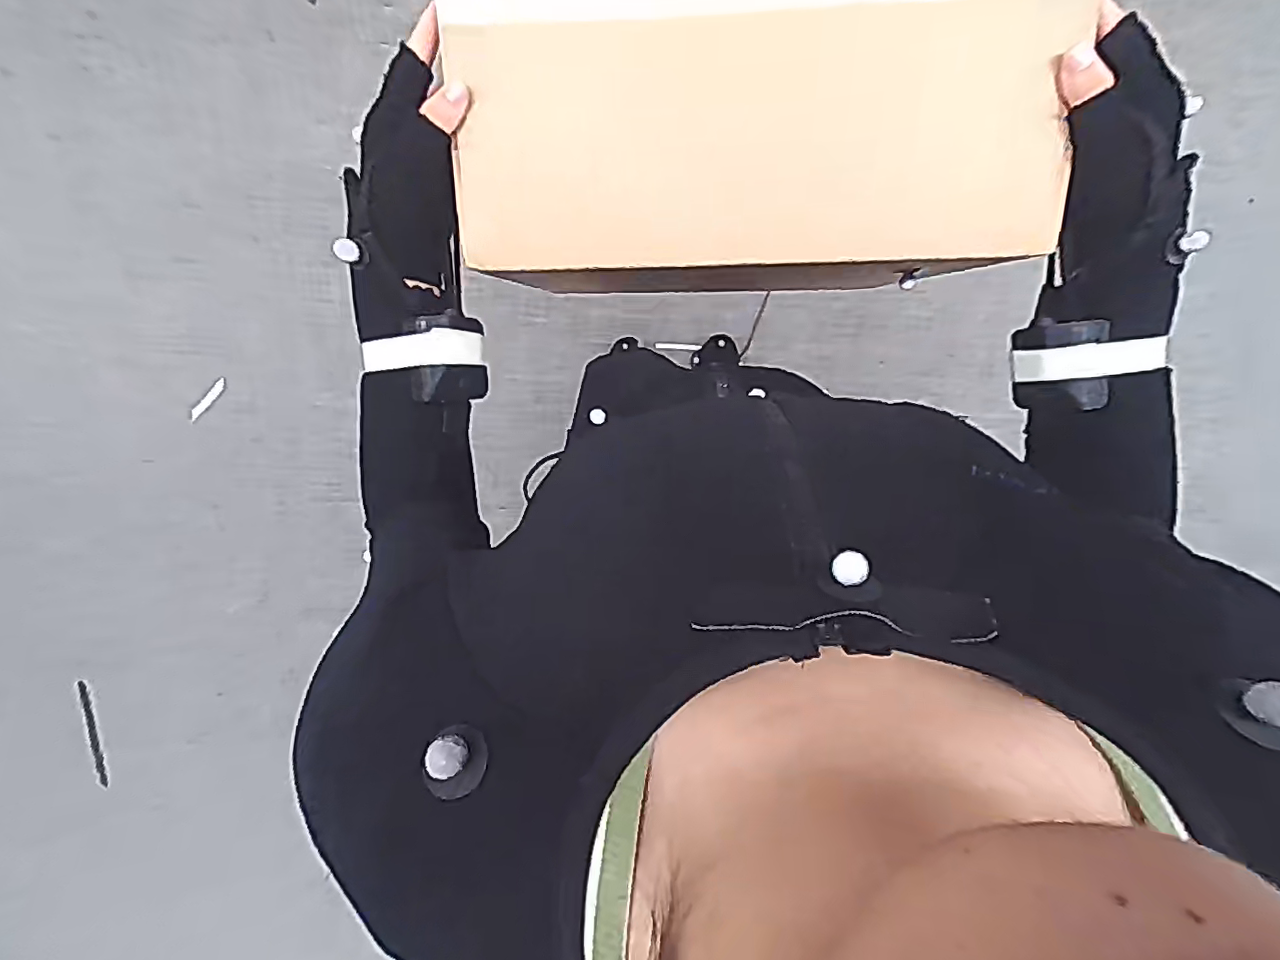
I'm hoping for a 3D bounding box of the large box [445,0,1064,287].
[{"bbox_3d":[0.078,-0.350,0.489,0.408,0.320,0.320,-1,106,3],"label":"large box"}]
